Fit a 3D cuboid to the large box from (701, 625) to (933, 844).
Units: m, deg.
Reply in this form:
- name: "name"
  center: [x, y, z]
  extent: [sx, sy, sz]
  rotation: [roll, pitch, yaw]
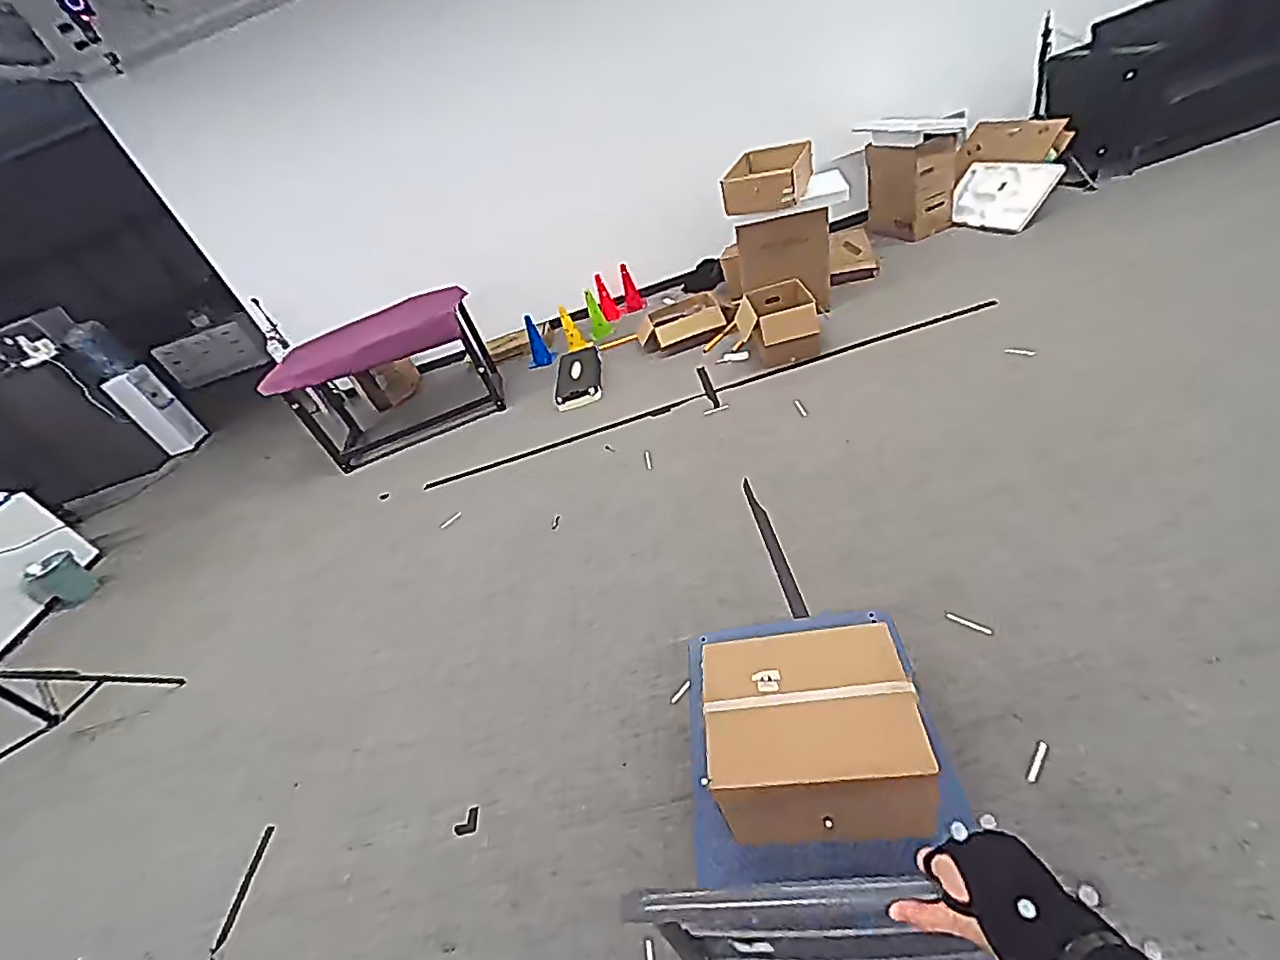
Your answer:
- name: "large box"
  center: [0.373, 0.563, 1.185]
  extent: [0.408, 0.320, 0.320]
  rotation: [-13, 36, 13]
